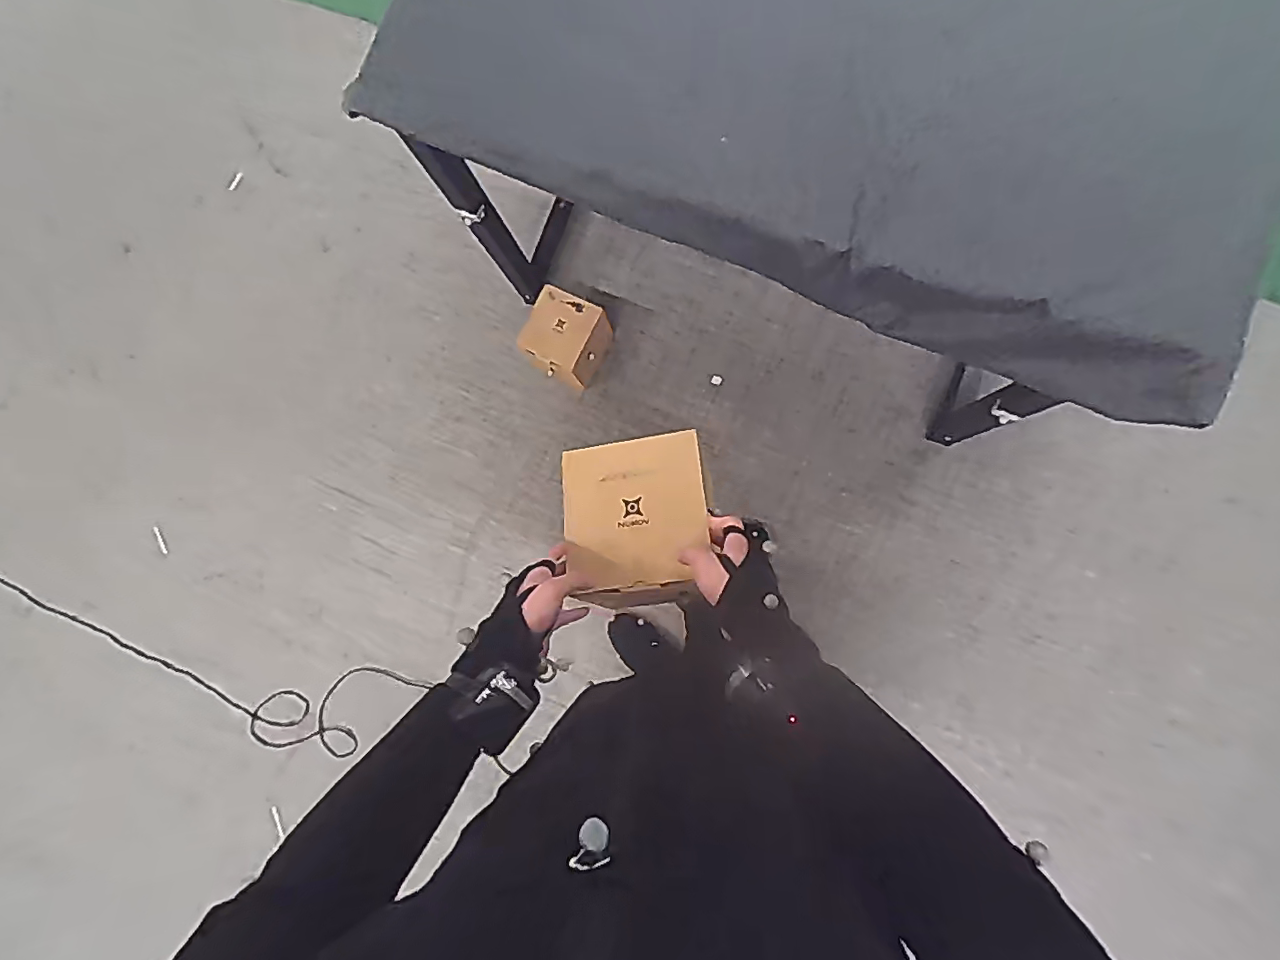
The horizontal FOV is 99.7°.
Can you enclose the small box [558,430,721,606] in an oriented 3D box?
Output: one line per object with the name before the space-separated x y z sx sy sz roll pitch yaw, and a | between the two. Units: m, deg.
small box | 0.005 0.060 0.683 0.168 0.176 0.179 -10 68 11
